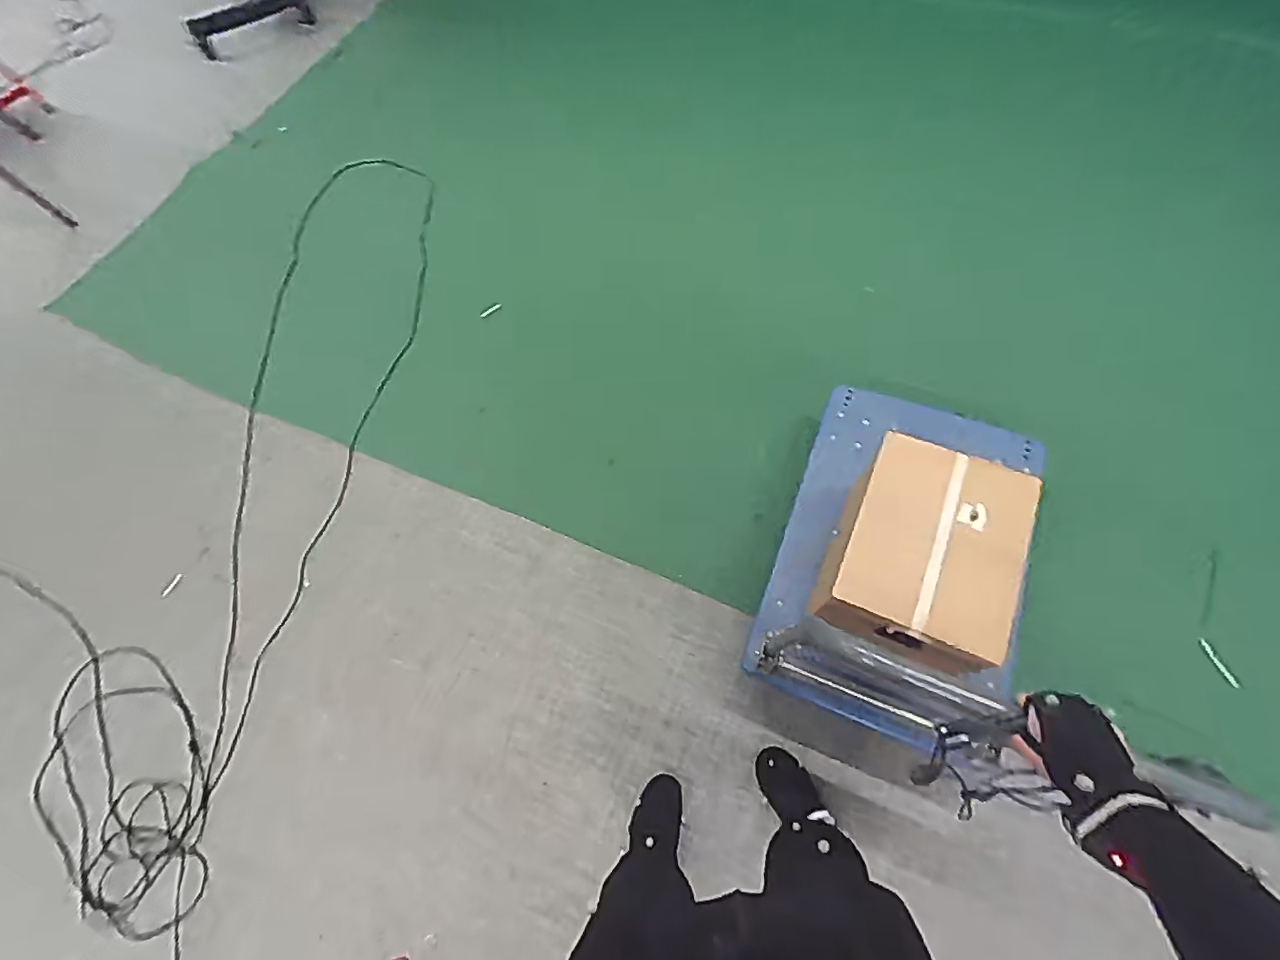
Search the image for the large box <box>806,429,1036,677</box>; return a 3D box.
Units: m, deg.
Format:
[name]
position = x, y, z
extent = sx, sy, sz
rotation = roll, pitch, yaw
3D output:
[large box]
position = 0.598, 0.170, 1.196
extent = 0.320, 0.320, 0.408
rotation = 22, 69, 14
